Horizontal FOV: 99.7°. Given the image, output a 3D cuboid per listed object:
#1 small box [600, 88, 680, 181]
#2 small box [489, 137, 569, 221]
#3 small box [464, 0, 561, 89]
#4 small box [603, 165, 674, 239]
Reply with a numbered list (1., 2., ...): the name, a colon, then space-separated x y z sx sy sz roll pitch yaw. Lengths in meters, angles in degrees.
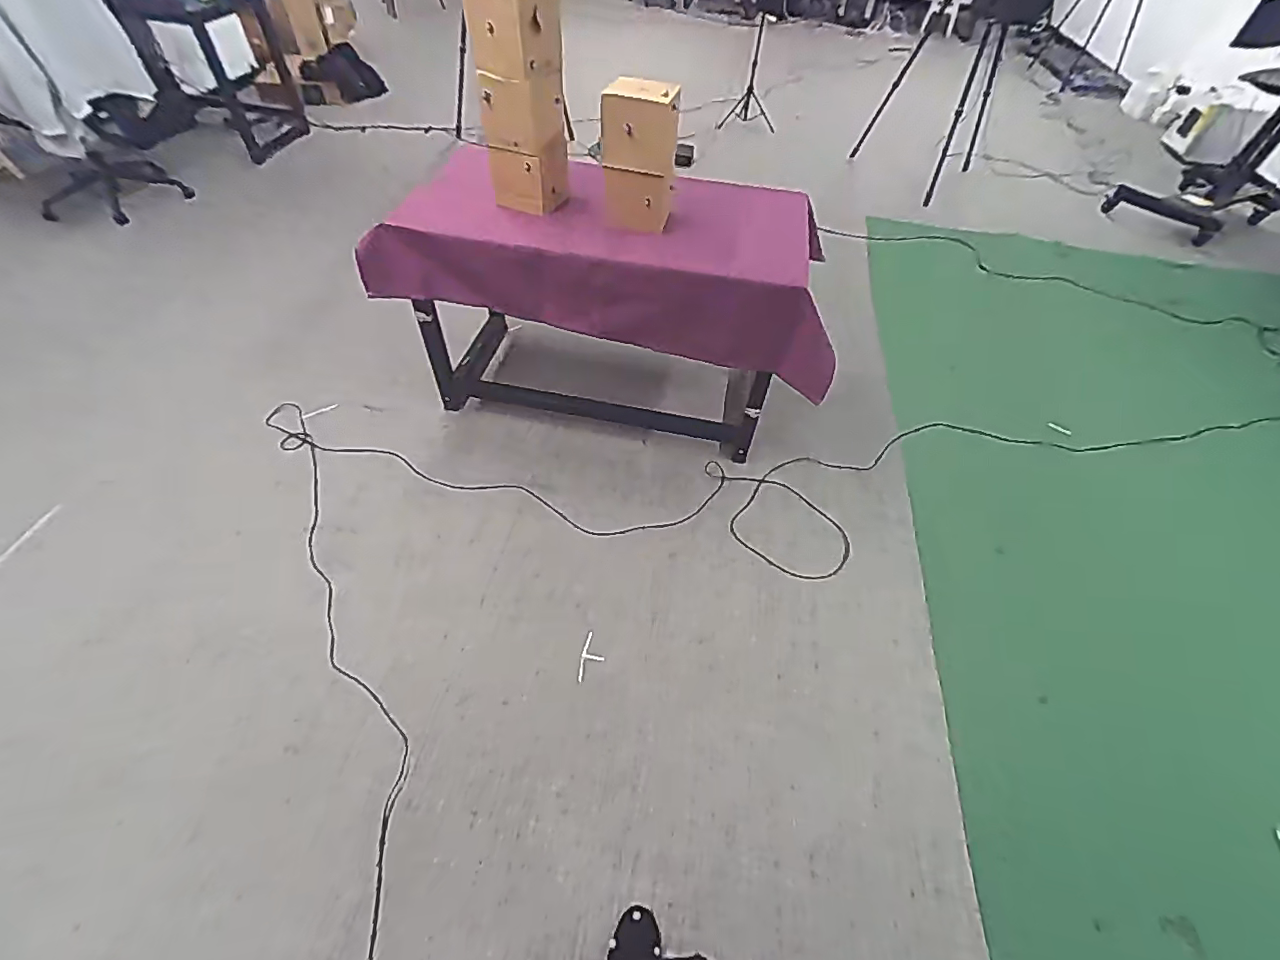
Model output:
1. small box: -0.001 -0.934 1.464 0.179 0.176 0.168 14 50 8
2. small box: -0.329 -0.905 1.631 0.179 0.176 0.168 20 51 11
3. small box: -0.318 -1.131 1.391 0.179 0.176 0.168 25 52 17
4. small box: -0.006 -0.832 1.593 0.179 0.176 0.168 12 49 6
